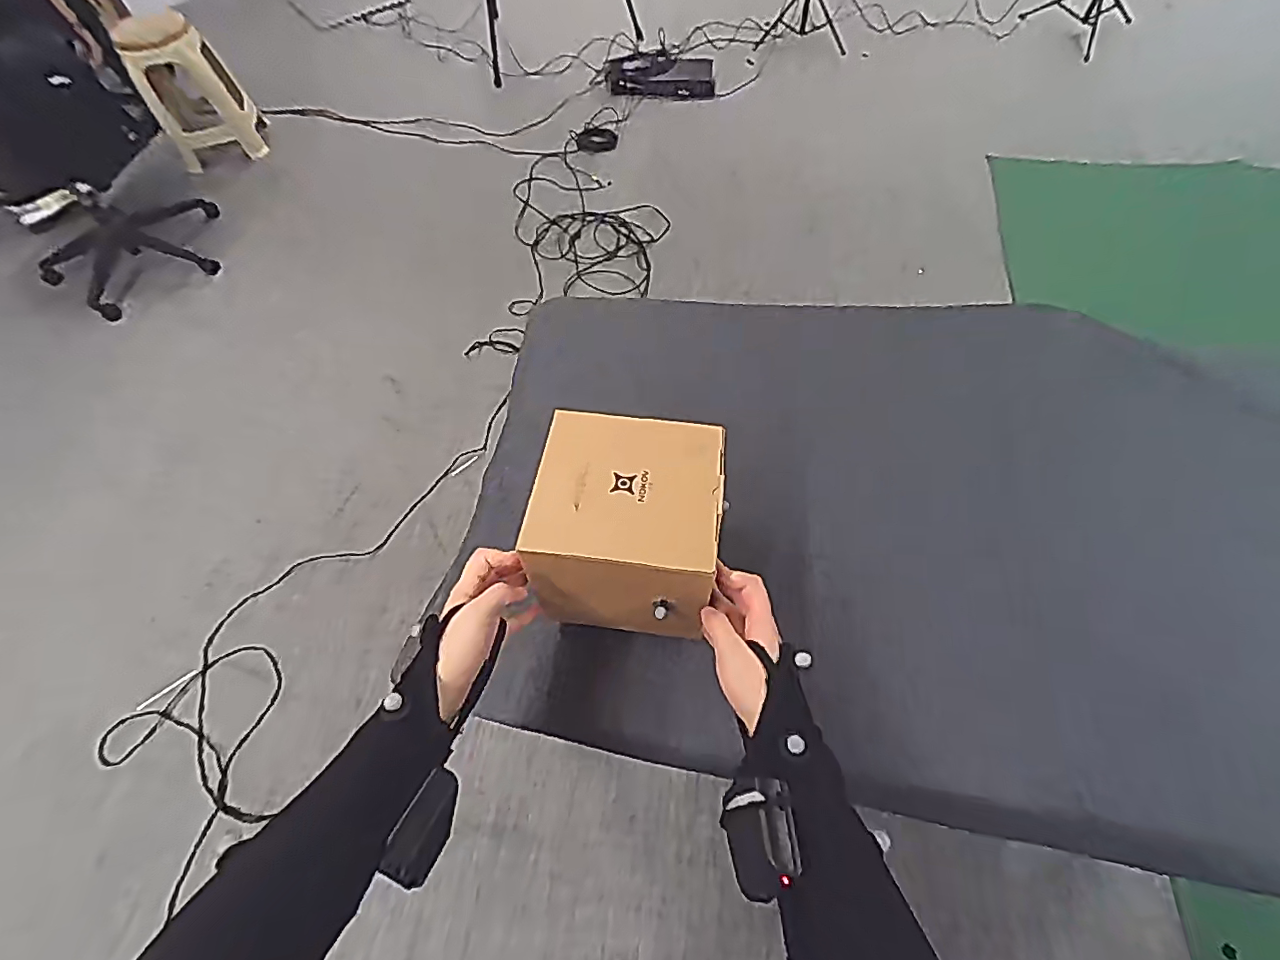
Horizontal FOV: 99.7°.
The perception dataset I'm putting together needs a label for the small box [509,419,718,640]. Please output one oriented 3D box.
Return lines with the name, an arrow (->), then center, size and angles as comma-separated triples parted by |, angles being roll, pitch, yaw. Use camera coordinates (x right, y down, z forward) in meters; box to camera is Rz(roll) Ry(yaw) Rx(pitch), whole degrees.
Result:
small box -> -0.016, 0.057, 0.568 | 0.179, 0.176, 0.168 | 4, 54, 6
